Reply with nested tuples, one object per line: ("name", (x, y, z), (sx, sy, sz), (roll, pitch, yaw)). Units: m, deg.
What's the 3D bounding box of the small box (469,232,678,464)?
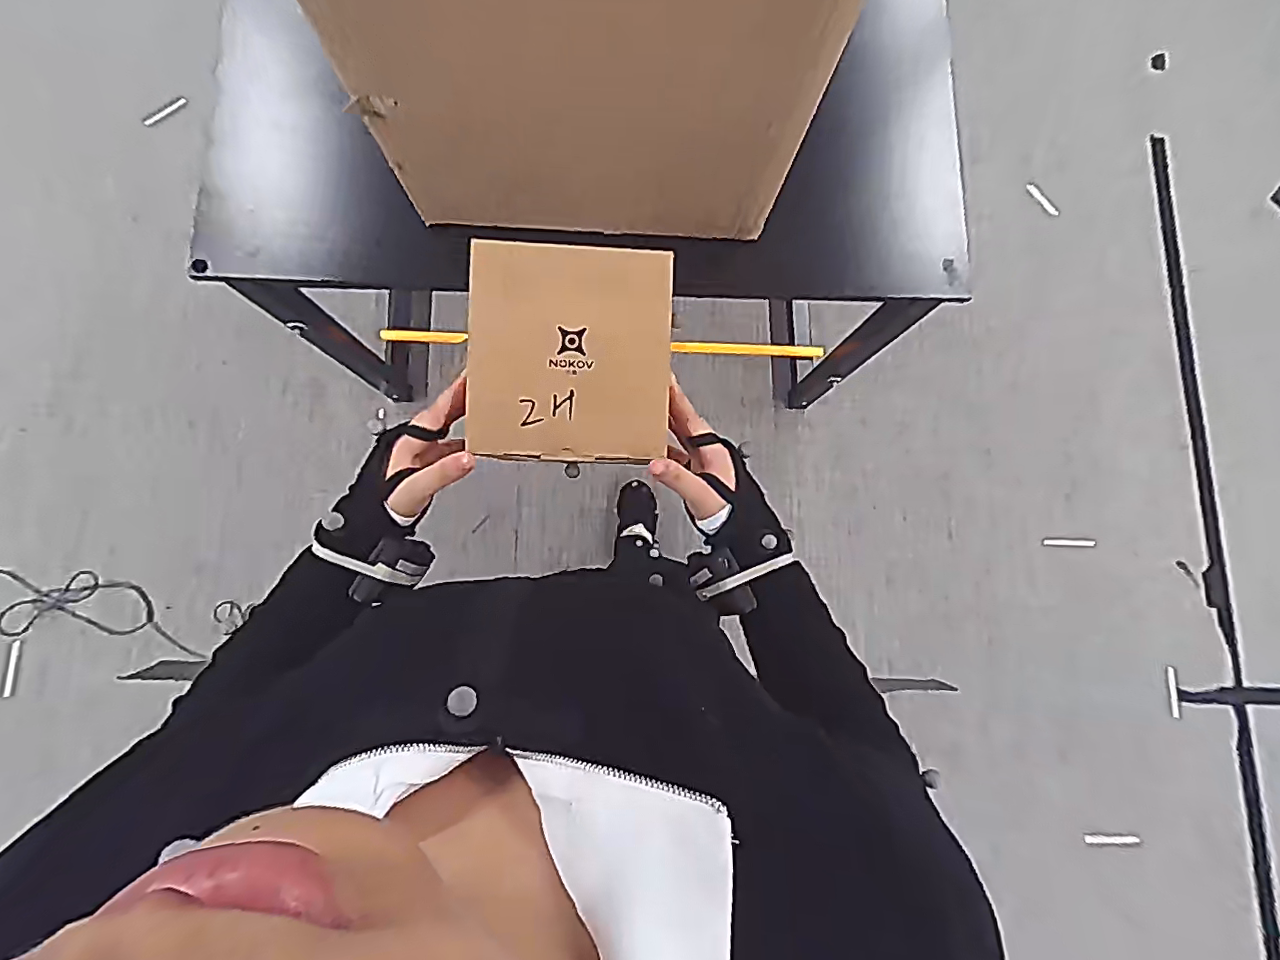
("small box", (-0.059, -0.110, 0.521), (0.168, 0.176, 0.179), (2, 89, -4))
